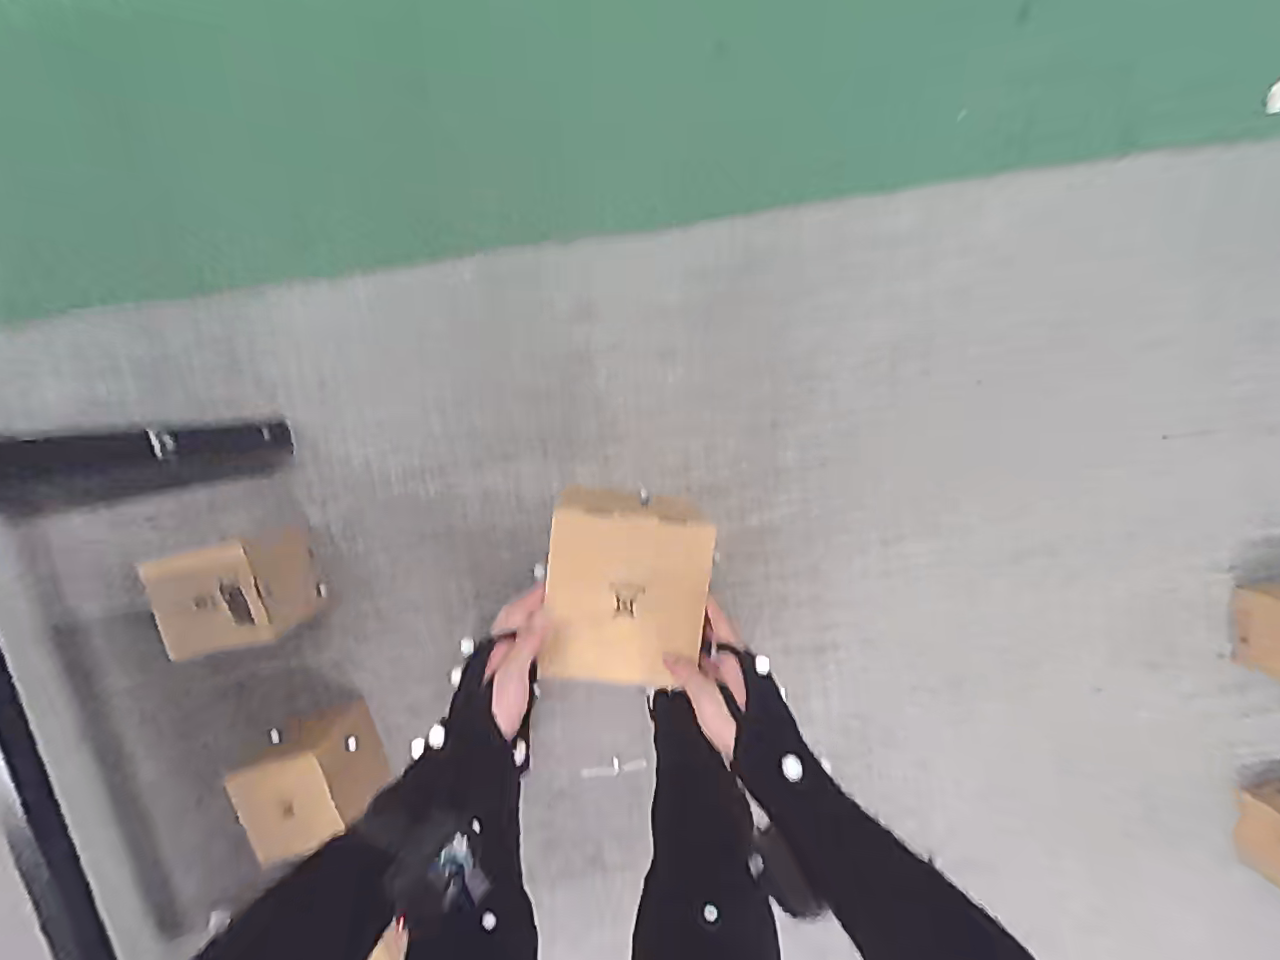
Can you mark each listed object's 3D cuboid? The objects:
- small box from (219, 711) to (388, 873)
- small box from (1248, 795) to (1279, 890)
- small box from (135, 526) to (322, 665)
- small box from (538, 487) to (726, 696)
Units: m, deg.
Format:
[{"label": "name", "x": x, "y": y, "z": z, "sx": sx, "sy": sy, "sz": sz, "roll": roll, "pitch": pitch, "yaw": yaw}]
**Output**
[{"label": "small box", "x": -0.585, "y": 0.539, "z": 0.964, "sx": 0.168, "sy": 0.176, "sz": 0.179, "roll": -16, "pitch": 98, "yaw": 2}, {"label": "small box", "x": 1.329, "y": 0.725, "z": 1.030, "sx": 0.168, "sy": 0.176, "sz": 0.179, "roll": -9, "pitch": 97, "yaw": 0}, {"label": "small box", "x": -0.674, "y": 0.185, "z": 0.916, "sx": 0.179, "sy": 0.176, "sz": 0.168, "roll": -12, "pitch": 97, "yaw": 1}, {"label": "small box", "x": -0.012, "y": 0.112, "z": 0.603, "sx": 0.168, "sy": 0.176, "sz": 0.179, "roll": 7, "pitch": 95, "yaw": -5}]
